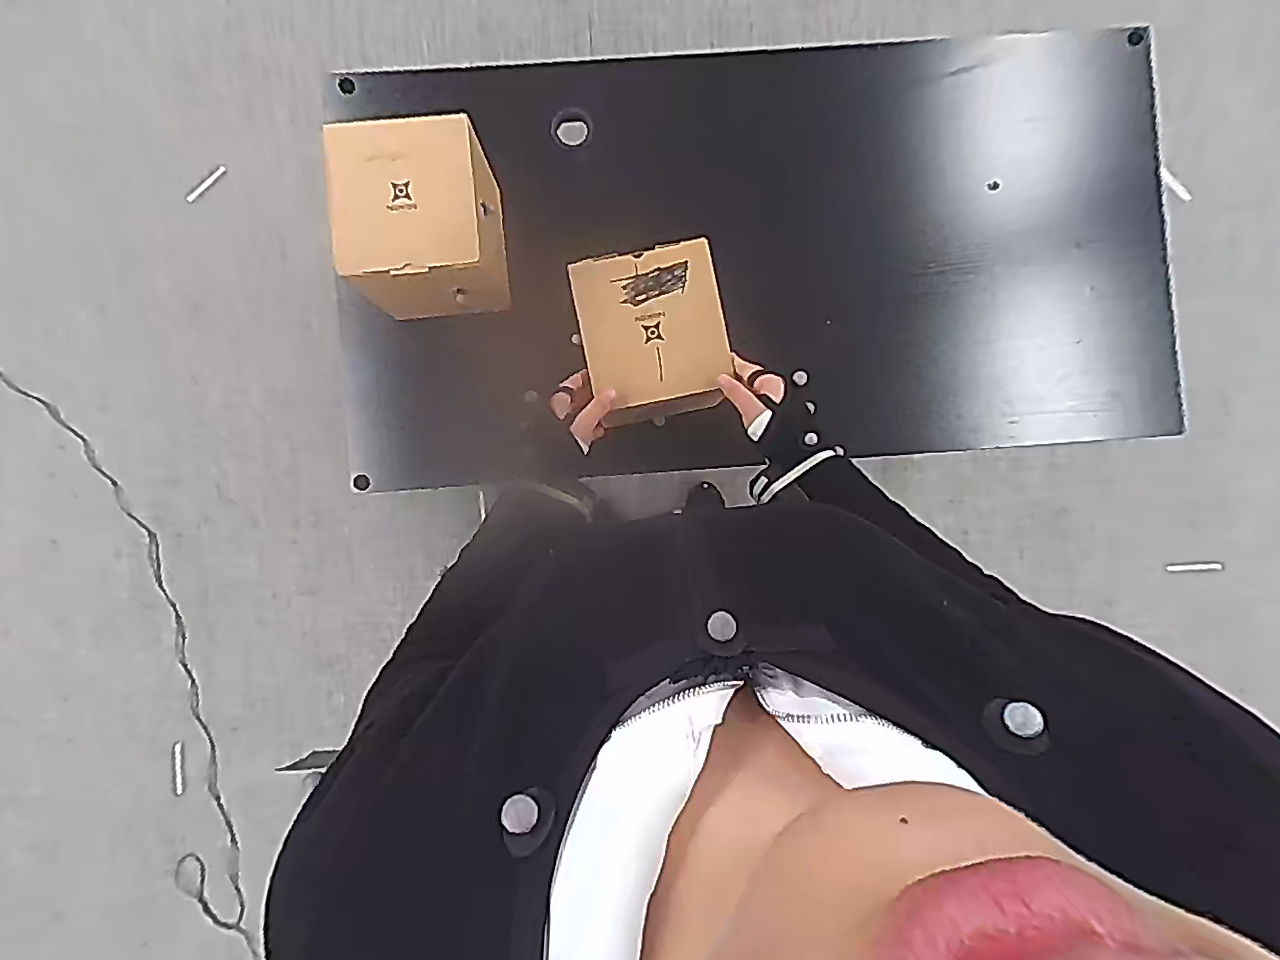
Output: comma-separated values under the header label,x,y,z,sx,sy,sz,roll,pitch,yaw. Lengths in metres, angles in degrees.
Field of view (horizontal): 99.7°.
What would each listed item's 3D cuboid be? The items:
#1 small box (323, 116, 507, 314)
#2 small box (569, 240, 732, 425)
label,x,y,z,sx,sy,sz,roll,pitch,yaw
small box,-0.276,-0.325,0.700,0.168,0.176,0.179,-6,89,-3
small box,0.009,-0.179,0.703,0.168,0.176,0.179,-12,91,-1
